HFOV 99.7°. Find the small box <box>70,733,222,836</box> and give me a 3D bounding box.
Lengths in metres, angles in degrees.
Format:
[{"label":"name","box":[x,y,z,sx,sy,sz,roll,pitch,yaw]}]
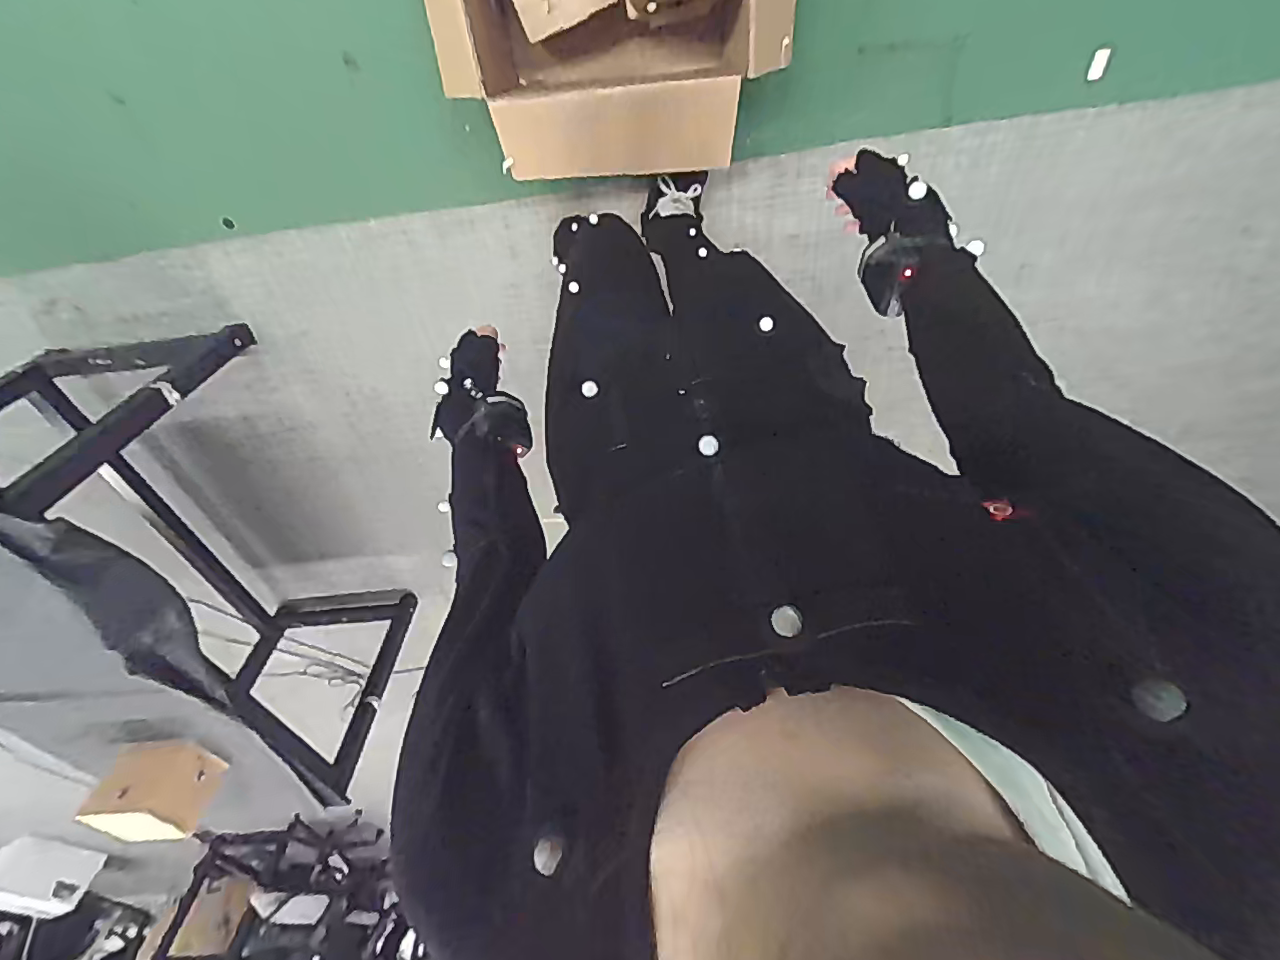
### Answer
[{"label":"small box","box":[-1.186,0.738,1.316,0.179,0.176,0.168,-7,129,6]}]
